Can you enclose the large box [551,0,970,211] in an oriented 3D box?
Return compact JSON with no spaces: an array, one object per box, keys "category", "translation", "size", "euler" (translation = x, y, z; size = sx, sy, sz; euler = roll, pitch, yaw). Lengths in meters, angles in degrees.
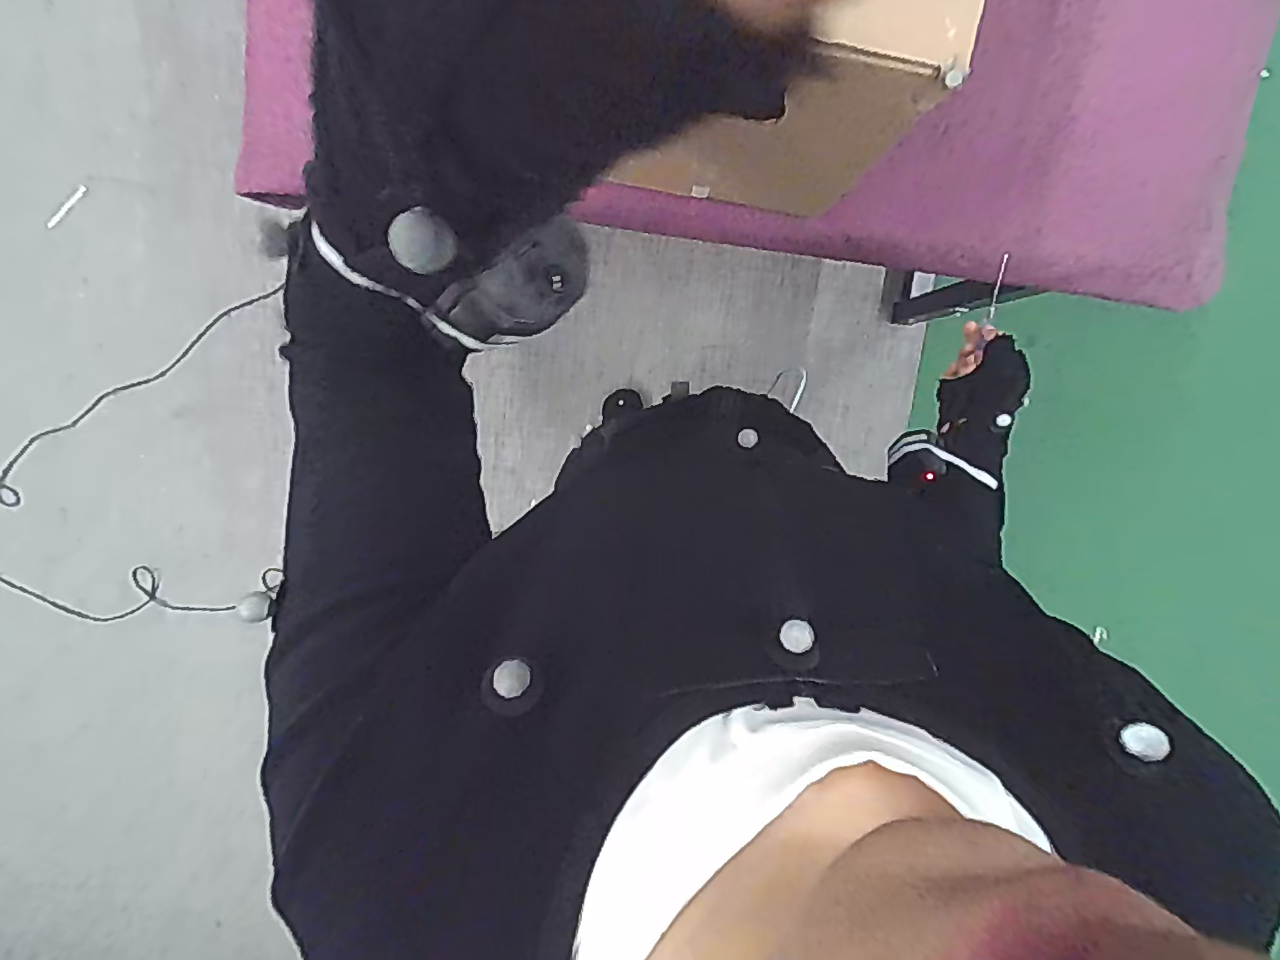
[{"category":"large box","translation":[0.110,-0.536,0.514],"size":[0.320,0.320,0.408],"euler":[9,100,-2]}]
